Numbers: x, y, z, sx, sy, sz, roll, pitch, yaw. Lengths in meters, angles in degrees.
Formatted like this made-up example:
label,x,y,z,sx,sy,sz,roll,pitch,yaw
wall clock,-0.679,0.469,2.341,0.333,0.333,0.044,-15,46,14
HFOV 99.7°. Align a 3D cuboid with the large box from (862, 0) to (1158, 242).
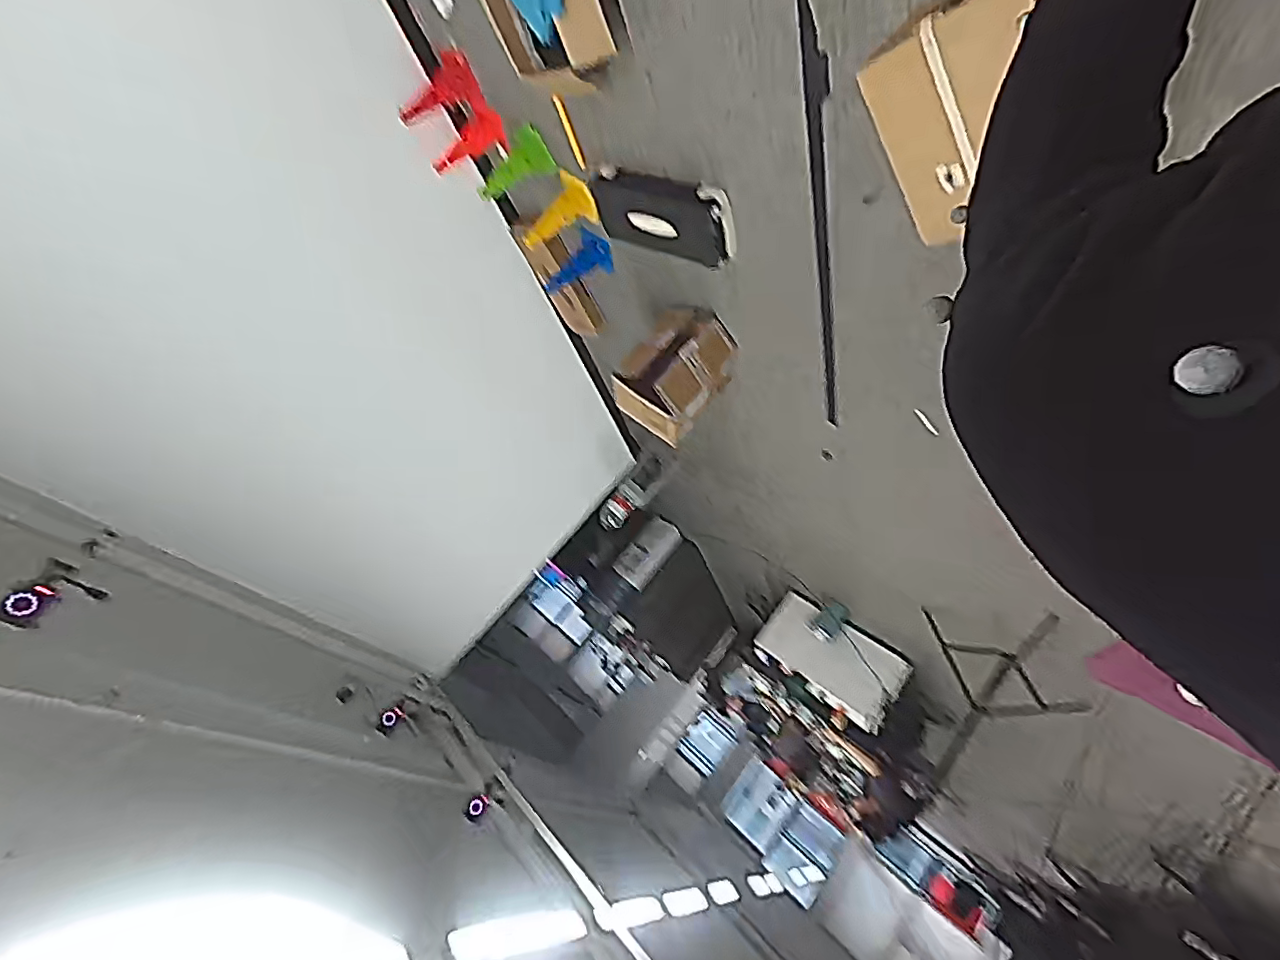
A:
label,x,y,z,sx,sy,sz,roll,pitch,yaw
large box,0.723,-0.766,1.056,0.408,0.320,0.320,48,164,-25
